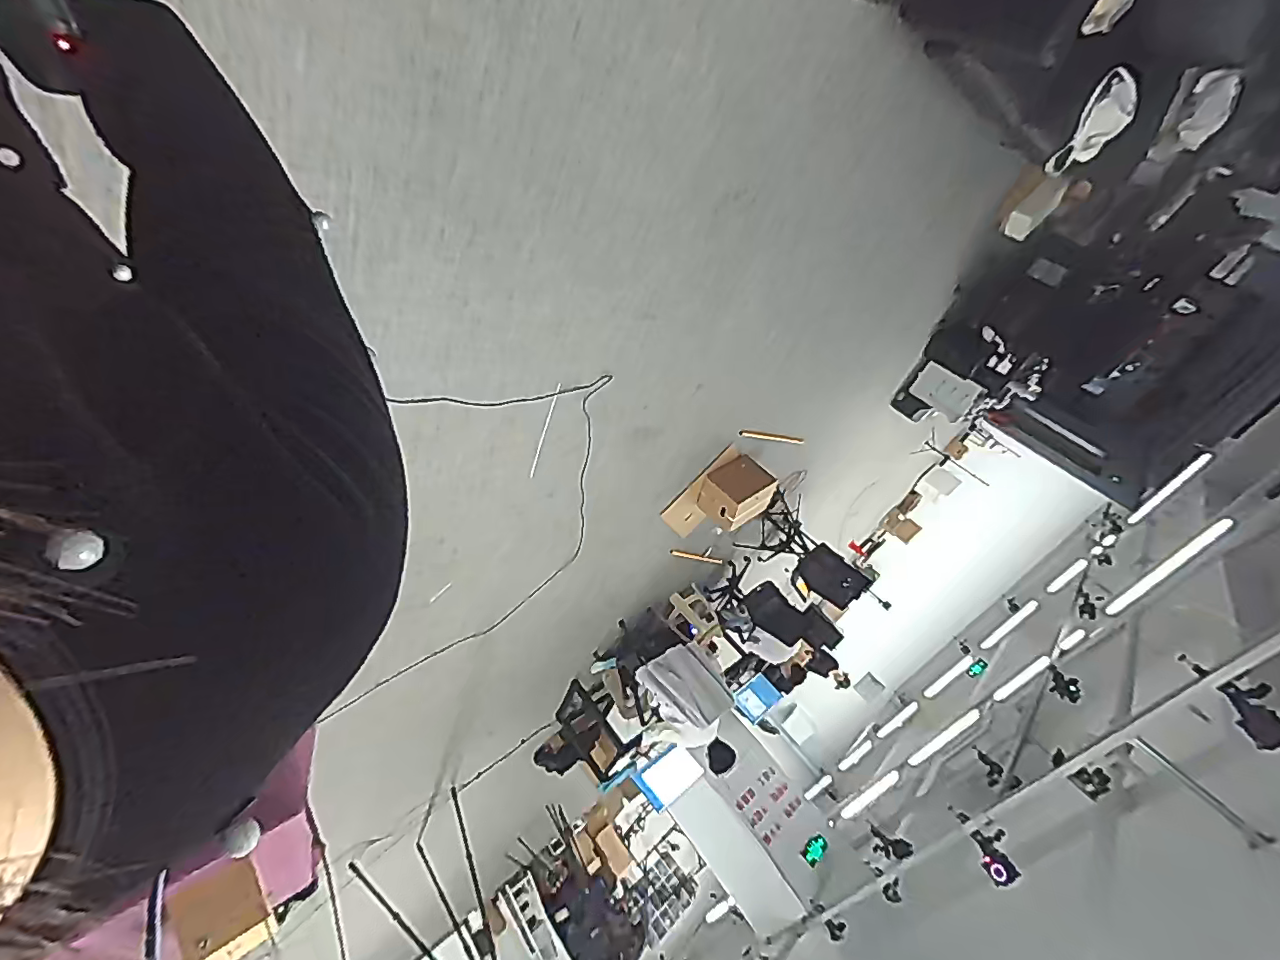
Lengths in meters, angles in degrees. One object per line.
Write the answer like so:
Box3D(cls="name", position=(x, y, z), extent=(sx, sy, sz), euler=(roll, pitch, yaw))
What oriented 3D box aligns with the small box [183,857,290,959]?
Box3D(cls="small box", position=(-1.021, 1.109, 1.374), extent=(0.179, 0.176, 0.168), euler=(-18, 142, -40))
